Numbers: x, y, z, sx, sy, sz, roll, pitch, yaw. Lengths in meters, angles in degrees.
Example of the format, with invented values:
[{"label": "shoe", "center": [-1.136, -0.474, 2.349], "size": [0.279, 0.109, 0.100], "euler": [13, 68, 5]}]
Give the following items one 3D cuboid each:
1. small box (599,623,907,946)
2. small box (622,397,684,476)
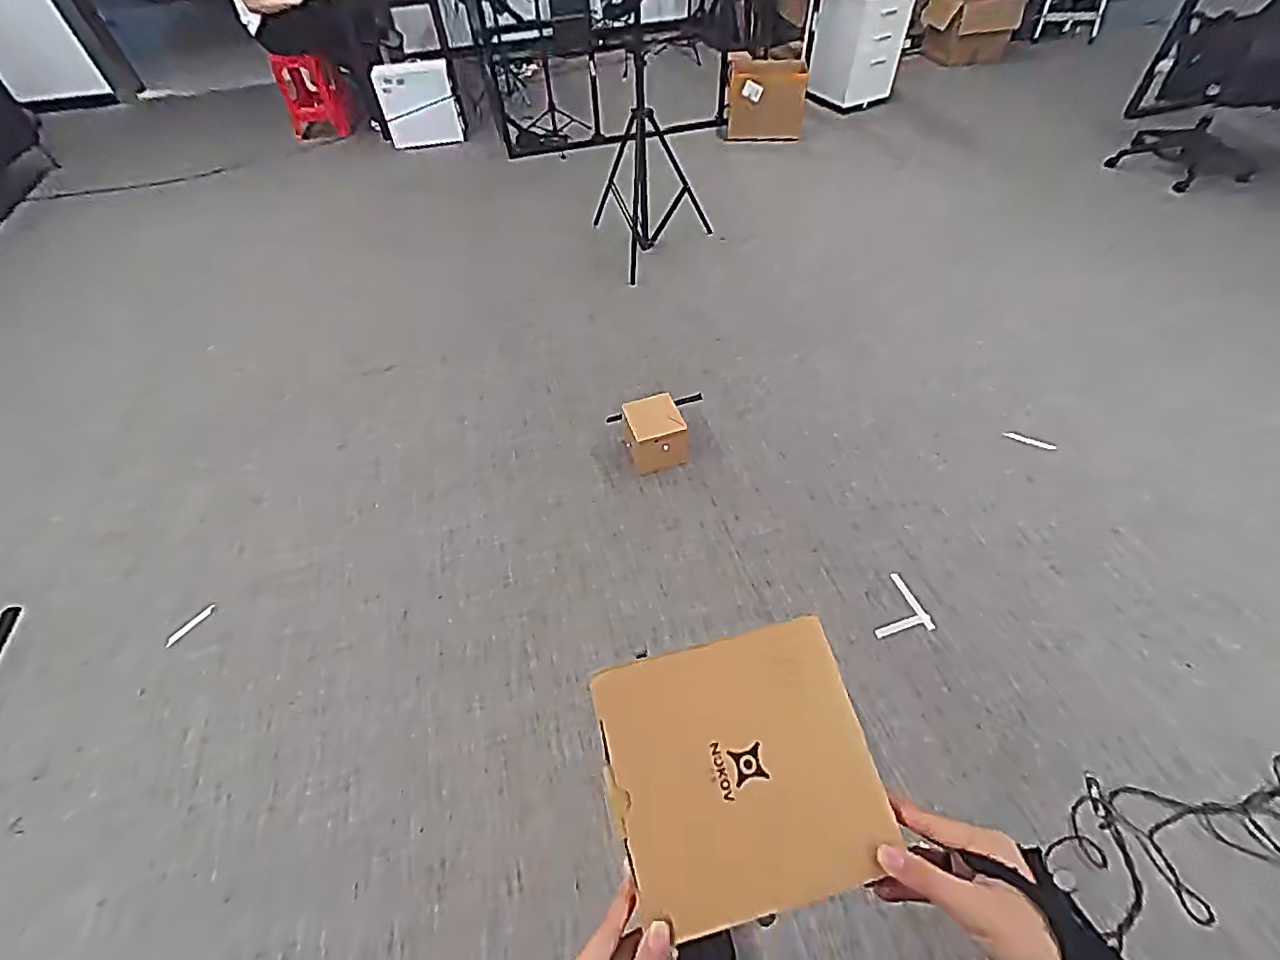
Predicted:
[{"label": "small box", "center": [0.072, 0.225, 0.442], "size": [0.179, 0.176, 0.168], "euler": [-13, 68, -4]}, {"label": "small box", "center": [0.042, -0.147, 1.768], "size": [0.168, 0.176, 0.179], "euler": [-16, 52, -9]}]
